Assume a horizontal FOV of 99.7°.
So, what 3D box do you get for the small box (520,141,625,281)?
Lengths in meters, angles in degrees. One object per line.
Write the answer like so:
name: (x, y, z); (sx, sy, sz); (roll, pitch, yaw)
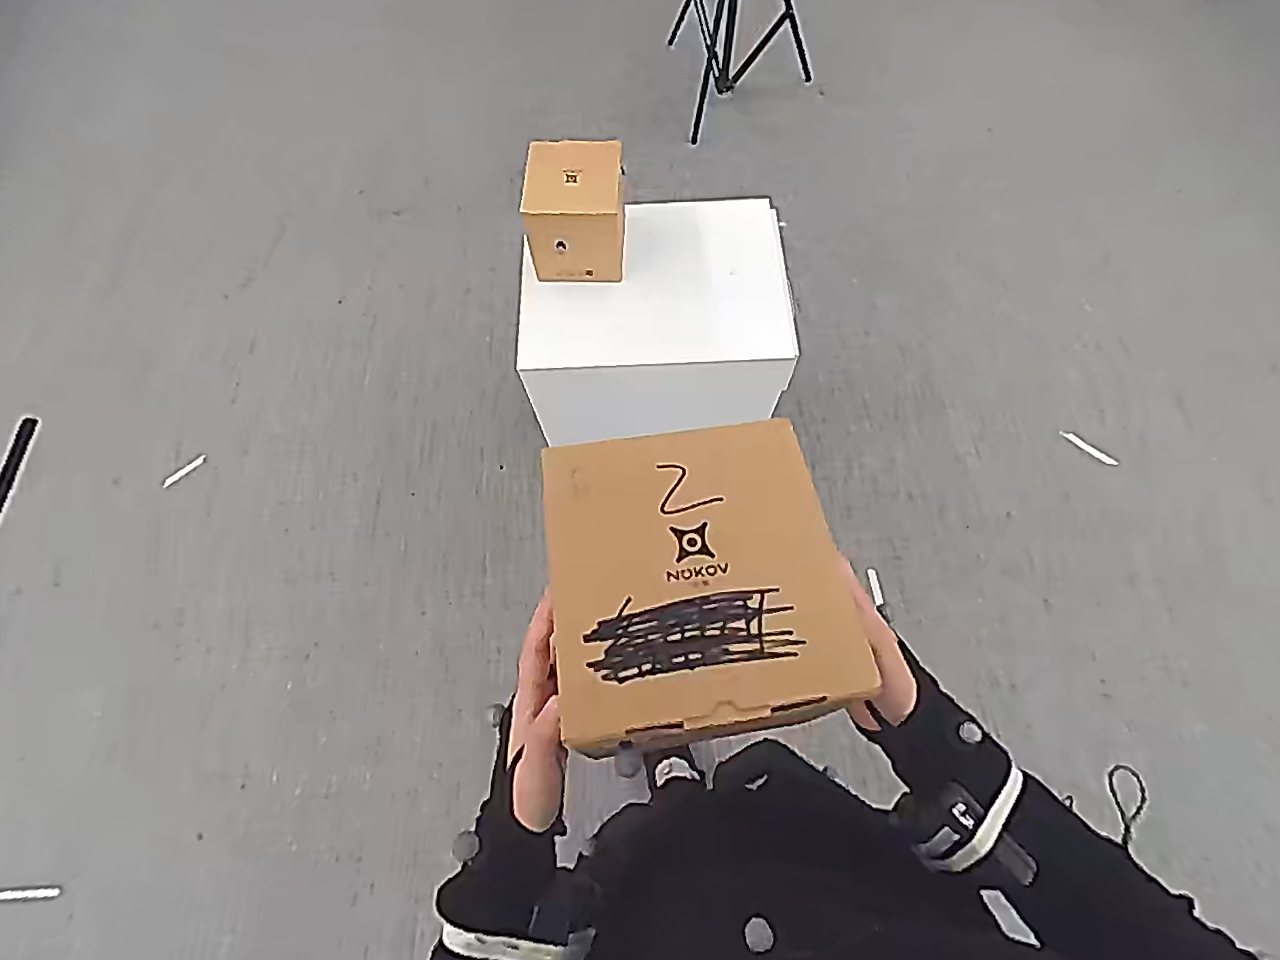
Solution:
small box: (-0.115, -0.492, 1.005); (0.168, 0.176, 0.179); (1, 68, 1)
